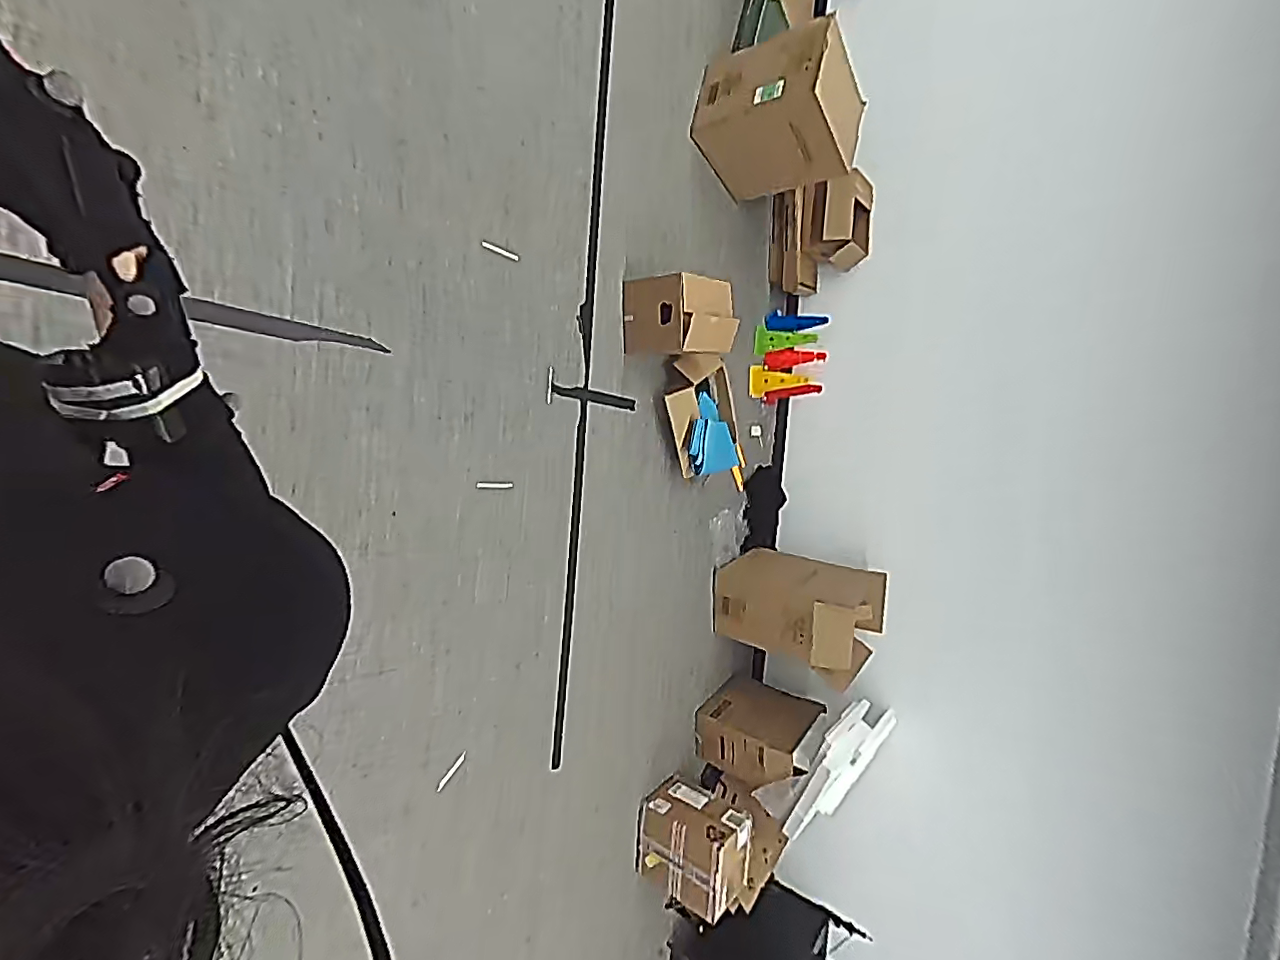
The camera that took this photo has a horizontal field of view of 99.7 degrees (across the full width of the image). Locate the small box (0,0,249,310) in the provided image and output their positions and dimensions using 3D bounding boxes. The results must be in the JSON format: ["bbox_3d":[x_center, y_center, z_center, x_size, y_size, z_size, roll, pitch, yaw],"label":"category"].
[{"bbox_3d":[-0.389,-0.214,0.321,0.176,0.168,0.179,-107,176,-55],"label":"small box"}]
